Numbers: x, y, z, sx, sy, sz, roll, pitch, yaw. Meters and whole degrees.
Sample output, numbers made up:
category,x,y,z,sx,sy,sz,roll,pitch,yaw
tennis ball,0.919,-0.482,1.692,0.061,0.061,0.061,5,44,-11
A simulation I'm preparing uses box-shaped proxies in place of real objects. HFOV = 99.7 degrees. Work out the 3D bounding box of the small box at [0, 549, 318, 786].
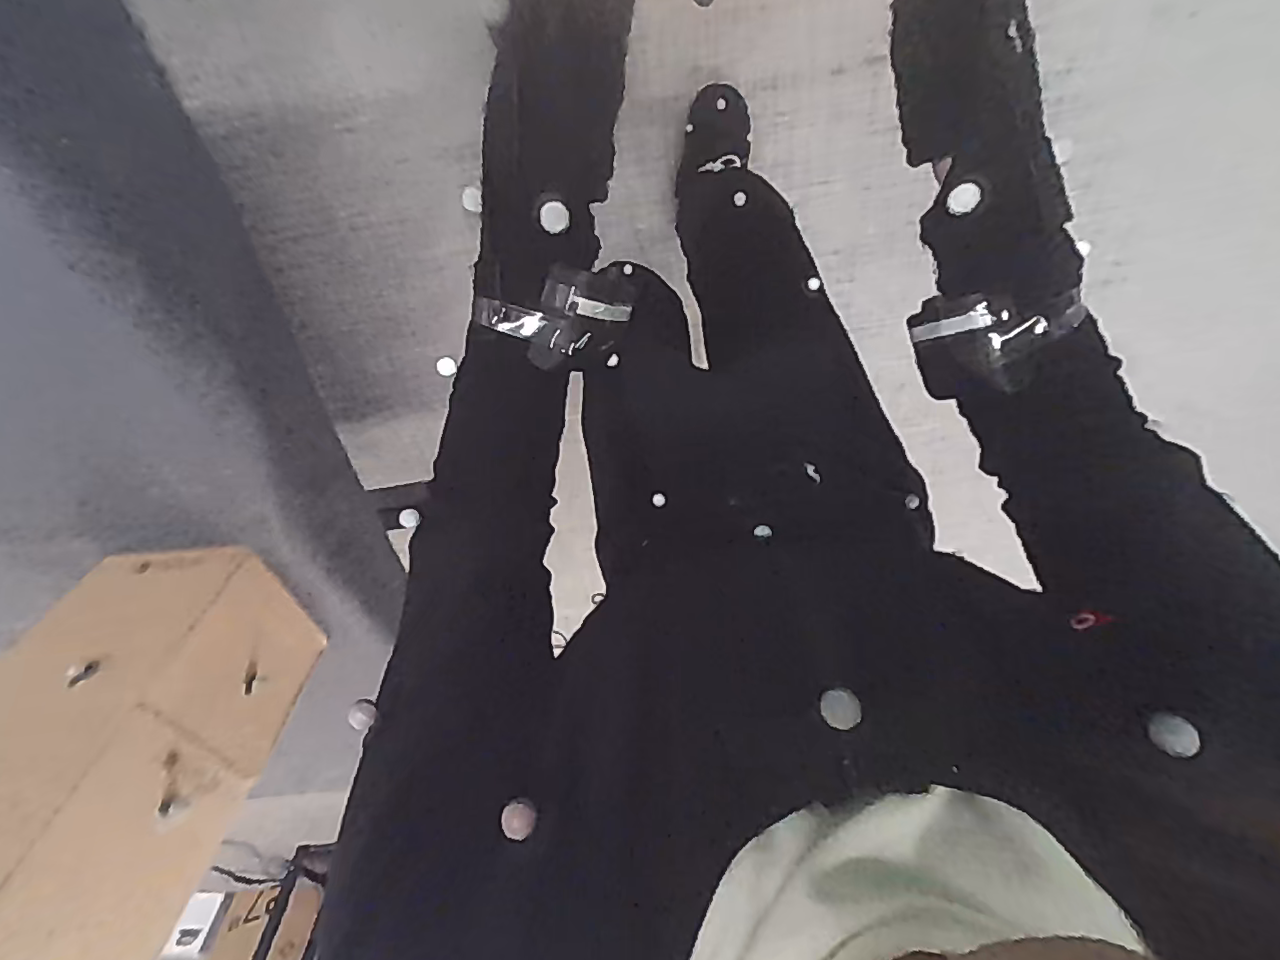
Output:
category,x,y,z,sx,sy,sz,roll,pitch,yaw
small box,-0.475,0.191,0.553,0.168,0.176,0.179,-4,130,5
